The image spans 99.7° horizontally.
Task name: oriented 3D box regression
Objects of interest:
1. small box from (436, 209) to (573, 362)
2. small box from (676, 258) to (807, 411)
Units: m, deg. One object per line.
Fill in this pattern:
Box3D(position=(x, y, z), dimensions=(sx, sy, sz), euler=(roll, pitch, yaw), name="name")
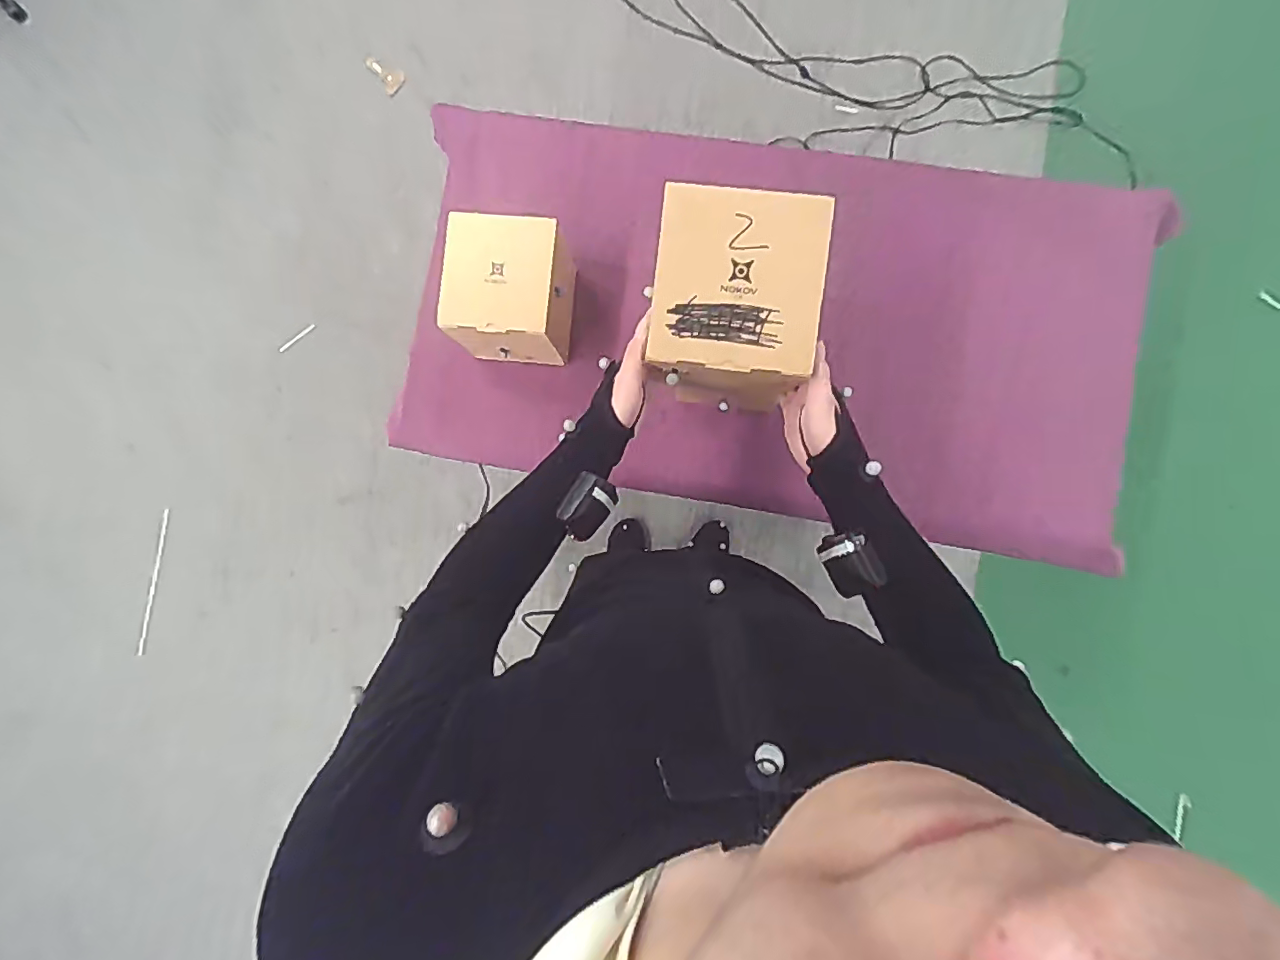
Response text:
Box3D(position=(-0.206, -0.302, 0.868), dimensions=(0.168, 0.176, 0.179), euler=(5, 88, 3), name="small box")
Box3D(position=(0.148, -0.216, 0.841), dimensions=(0.168, 0.176, 0.179), euler=(8, 88, 4), name="small box")
